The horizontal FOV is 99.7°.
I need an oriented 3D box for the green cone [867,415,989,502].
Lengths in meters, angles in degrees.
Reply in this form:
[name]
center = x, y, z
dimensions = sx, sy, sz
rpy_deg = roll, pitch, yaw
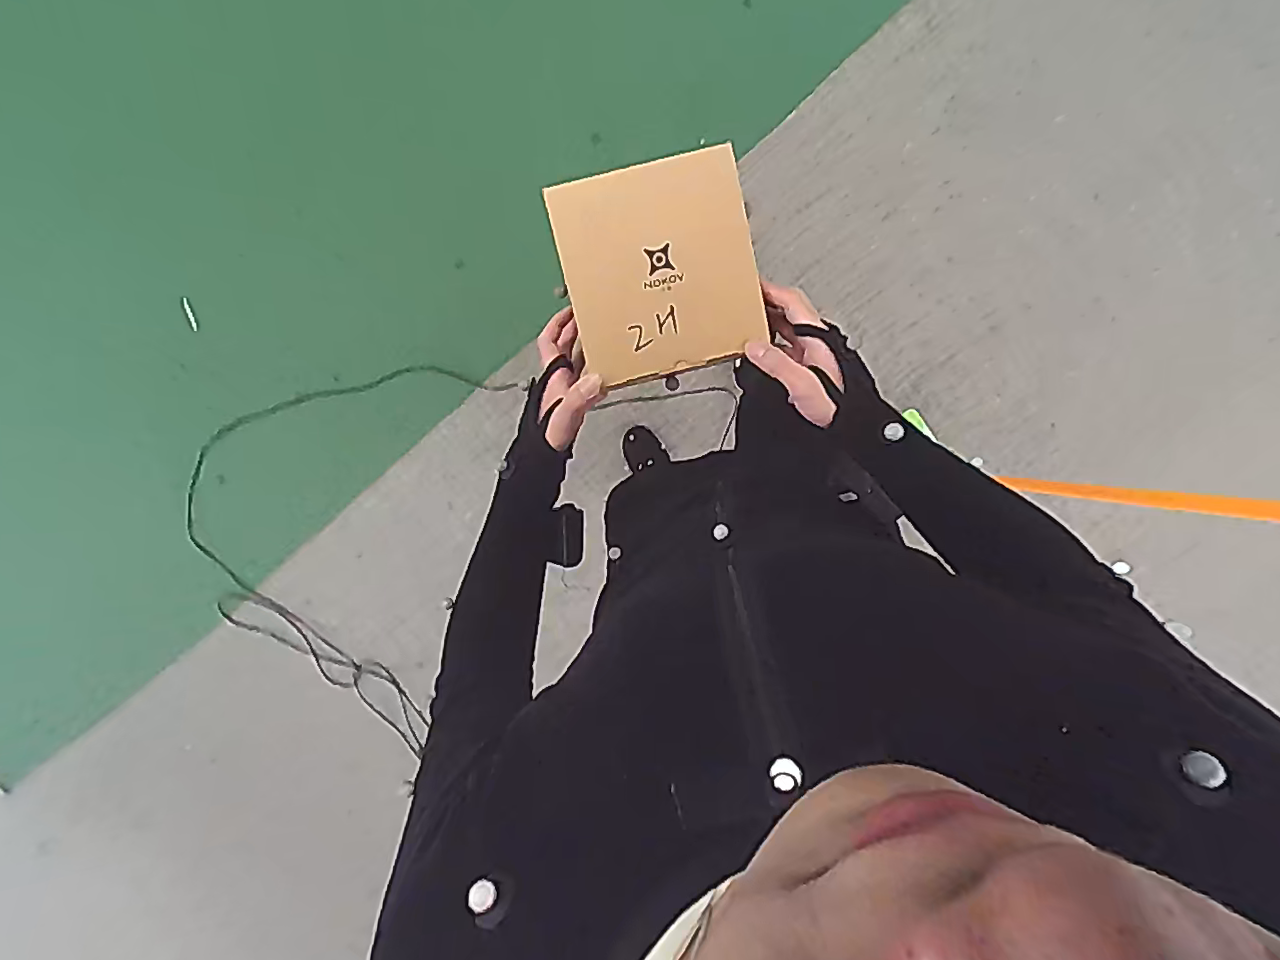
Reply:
[green cone]
center = 0.779, -0.025, 1.395
dimensions = 0.202, 0.368, 0.200
rpy_deg = -38, 98, 9
